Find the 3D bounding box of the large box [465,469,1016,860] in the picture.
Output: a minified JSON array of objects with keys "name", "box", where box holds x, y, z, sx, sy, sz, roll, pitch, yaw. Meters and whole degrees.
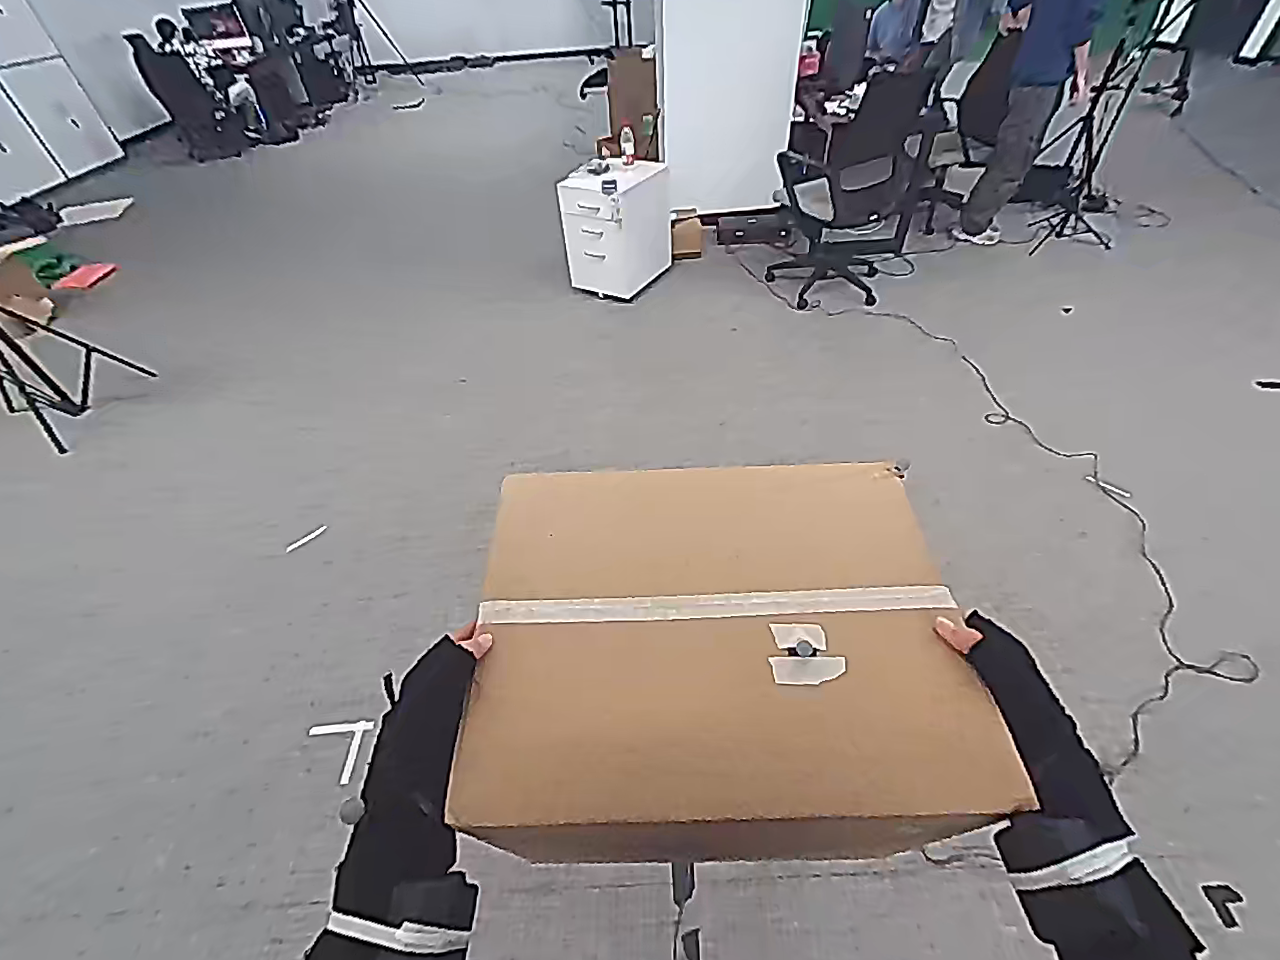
[{"name":"large box","box":[0.069,0.208,0.590,0.408,0.320,0.320,-2,52,0]}]
